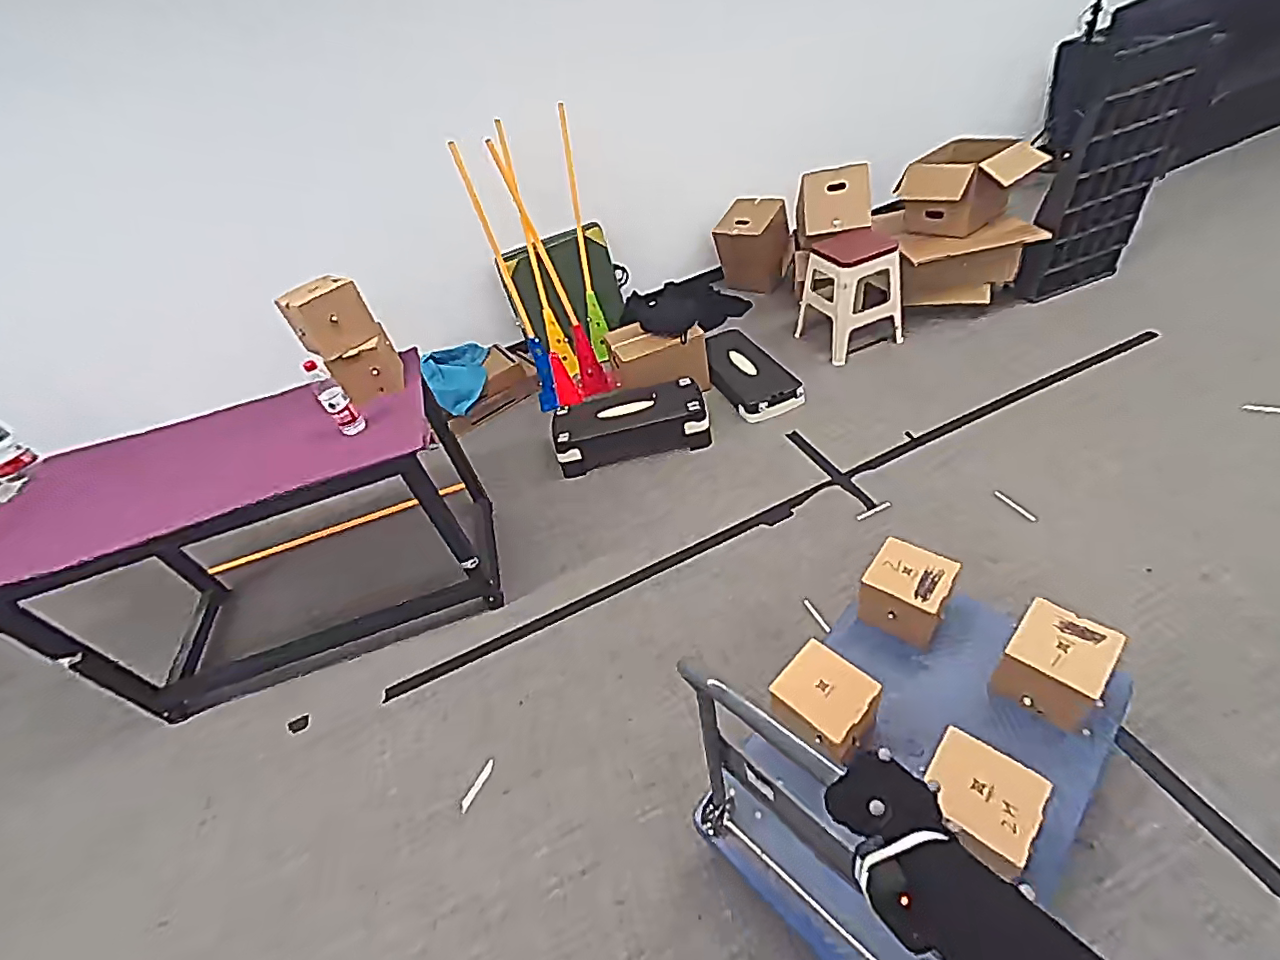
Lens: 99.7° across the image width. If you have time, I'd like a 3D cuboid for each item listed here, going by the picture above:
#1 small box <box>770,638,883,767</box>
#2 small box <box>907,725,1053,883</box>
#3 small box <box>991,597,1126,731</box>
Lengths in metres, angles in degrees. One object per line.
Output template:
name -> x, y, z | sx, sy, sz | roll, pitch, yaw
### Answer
small box -> 0.410, 0.499, 1.207 | 0.168, 0.176, 0.179 | -38, 48, -23
small box -> 0.628, 0.612, 1.019 | 0.179, 0.176, 0.168 | 26, 56, 37
small box -> 0.894, 0.398, 1.170 | 0.179, 0.176, 0.168 | -41, 48, -24
